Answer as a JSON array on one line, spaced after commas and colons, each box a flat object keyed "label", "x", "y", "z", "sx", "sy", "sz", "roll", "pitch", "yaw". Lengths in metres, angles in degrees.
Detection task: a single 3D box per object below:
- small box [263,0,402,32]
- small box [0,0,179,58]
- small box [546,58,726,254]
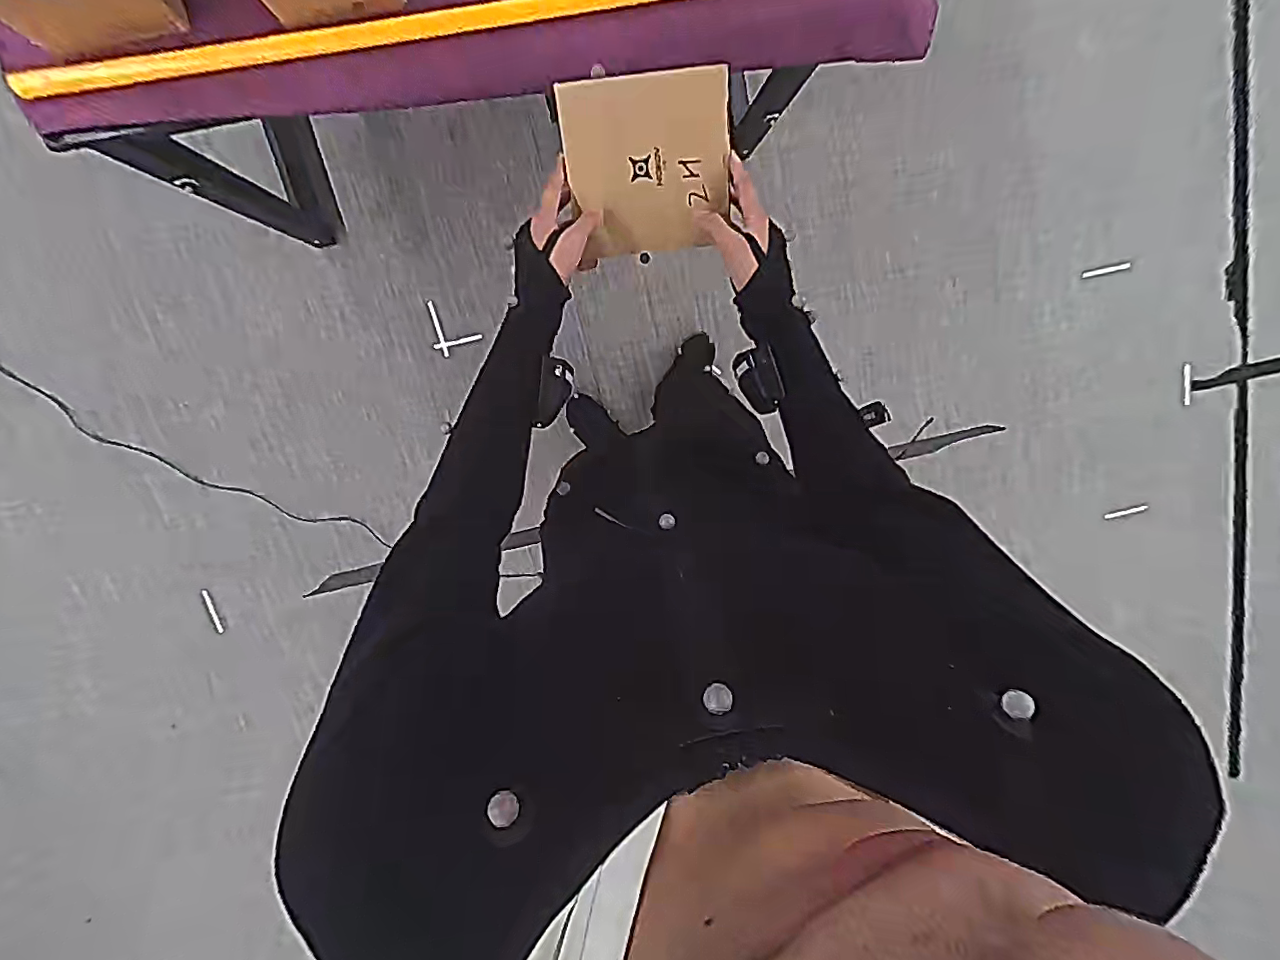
[{"label": "small box", "x": -0.404, "y": -0.678, "z": 0.626, "sx": 0.168, "sy": 0.176, "sz": 0.179, "roll": -13, "pitch": 102, "yaw": -2}, {"label": "small box", "x": -0.678, "y": -0.624, "z": 0.610, "sx": 0.179, "sy": 0.176, "sz": 0.168, "roll": -14, "pitch": 102, "yaw": -3}, {"label": "small box", "x": -0.002, "y": -0.365, "z": 0.629, "sx": 0.179, "sy": 0.176, "sz": 0.168, "roll": -7, "pitch": 119, "yaw": 0}]
